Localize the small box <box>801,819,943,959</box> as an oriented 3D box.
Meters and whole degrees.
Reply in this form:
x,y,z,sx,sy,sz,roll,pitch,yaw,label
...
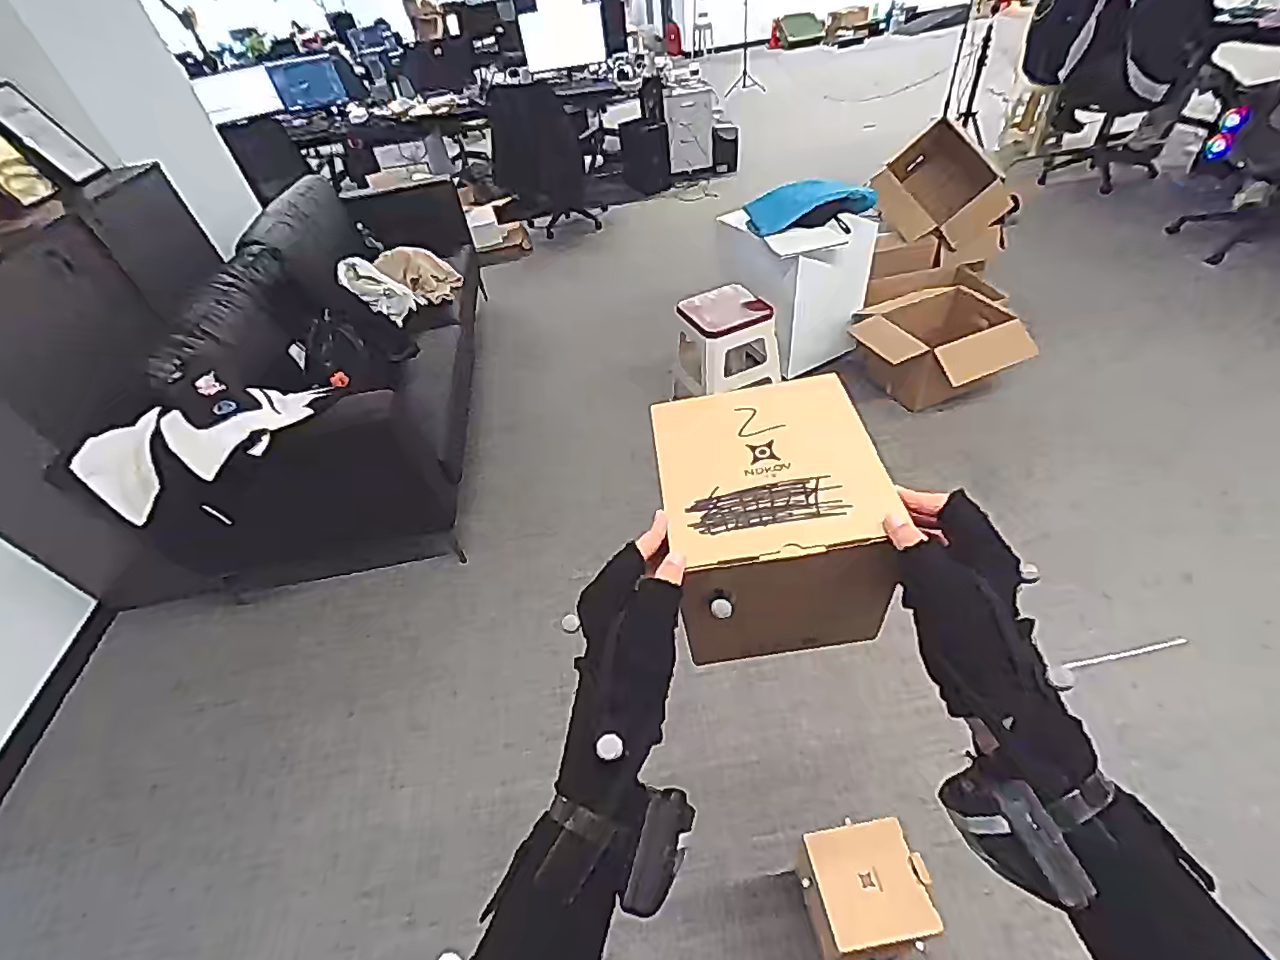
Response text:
x,y,z,sx,sy,sz,roll,pitch,yaw,label
0.397,0.735,0.965,0.179,0.176,0.168,-10,44,-1,small box
